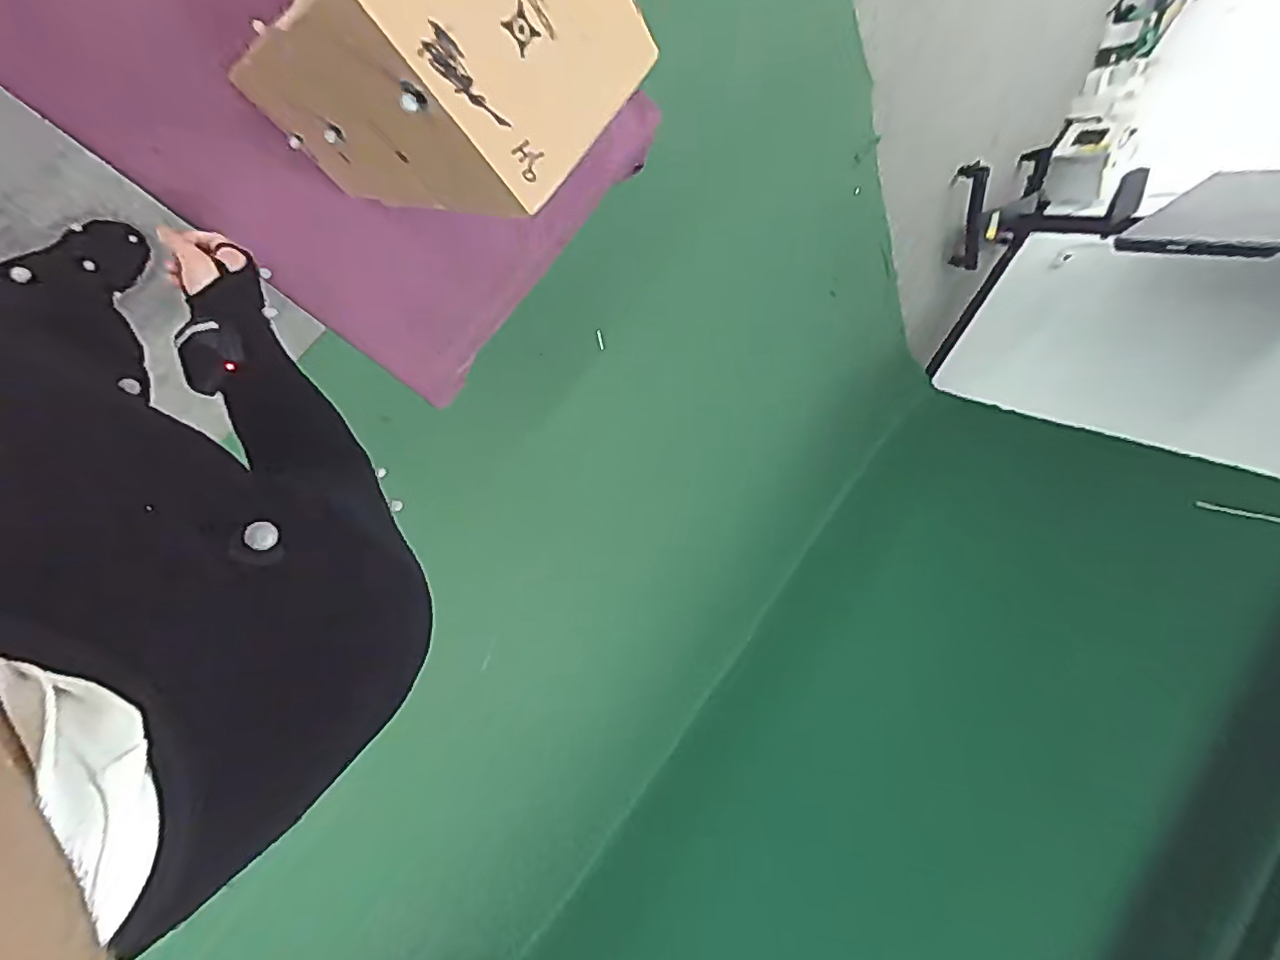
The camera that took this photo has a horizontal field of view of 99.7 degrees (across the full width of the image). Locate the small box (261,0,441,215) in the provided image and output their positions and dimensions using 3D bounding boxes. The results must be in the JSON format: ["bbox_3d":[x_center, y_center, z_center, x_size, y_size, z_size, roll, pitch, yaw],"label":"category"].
[{"bbox_3d":[-0.230,-0.388,0.526,0.179,0.176,0.168,-53,138,-8],"label":"small box"}]
